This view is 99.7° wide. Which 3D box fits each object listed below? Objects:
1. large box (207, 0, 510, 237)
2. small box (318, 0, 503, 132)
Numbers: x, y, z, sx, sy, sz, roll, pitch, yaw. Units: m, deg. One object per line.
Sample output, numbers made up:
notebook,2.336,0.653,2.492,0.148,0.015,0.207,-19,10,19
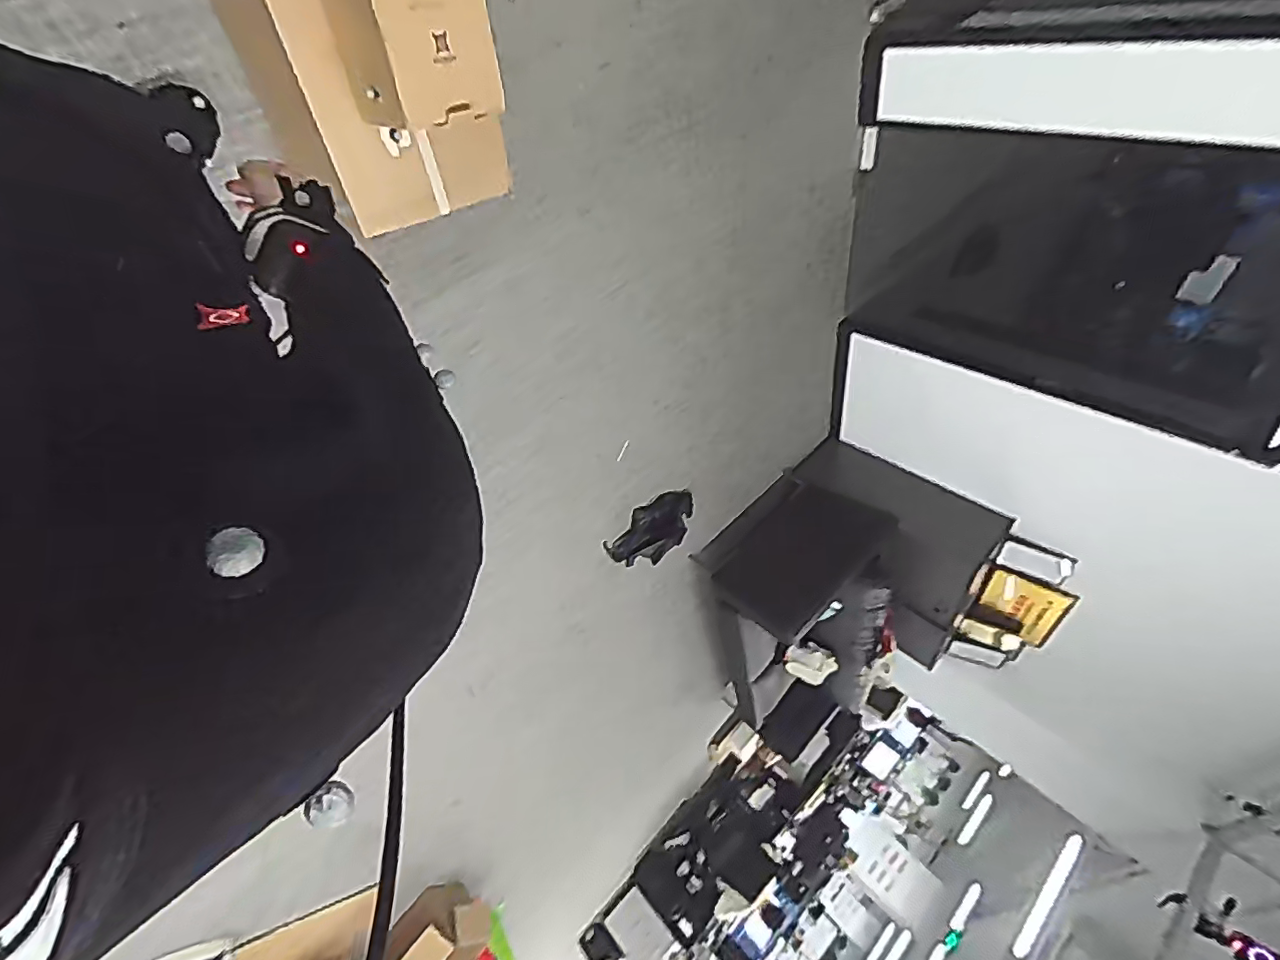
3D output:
large box,-0.488,-0.711,0.957,0.320,0.320,0.408,-34,140,-26
small box,-0.331,-0.628,0.786,0.168,0.176,0.179,-36,139,-29
